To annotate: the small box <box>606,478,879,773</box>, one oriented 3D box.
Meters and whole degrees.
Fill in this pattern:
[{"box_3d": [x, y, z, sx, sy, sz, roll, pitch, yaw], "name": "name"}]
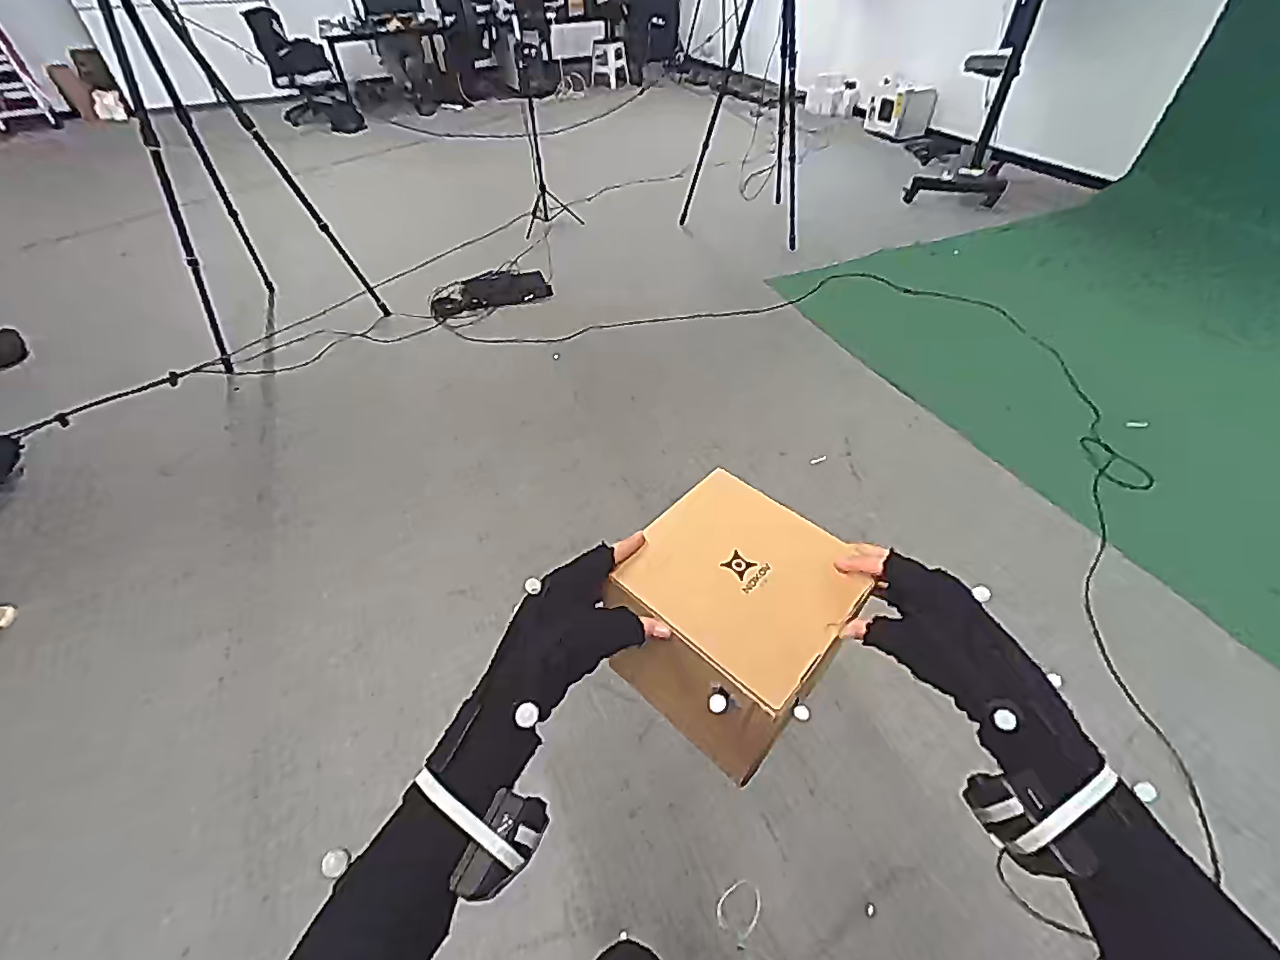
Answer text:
[{"box_3d": [0.083, 0.136, 0.513, 0.179, 0.176, 0.168, 34, 53, 27], "name": "small box"}]
